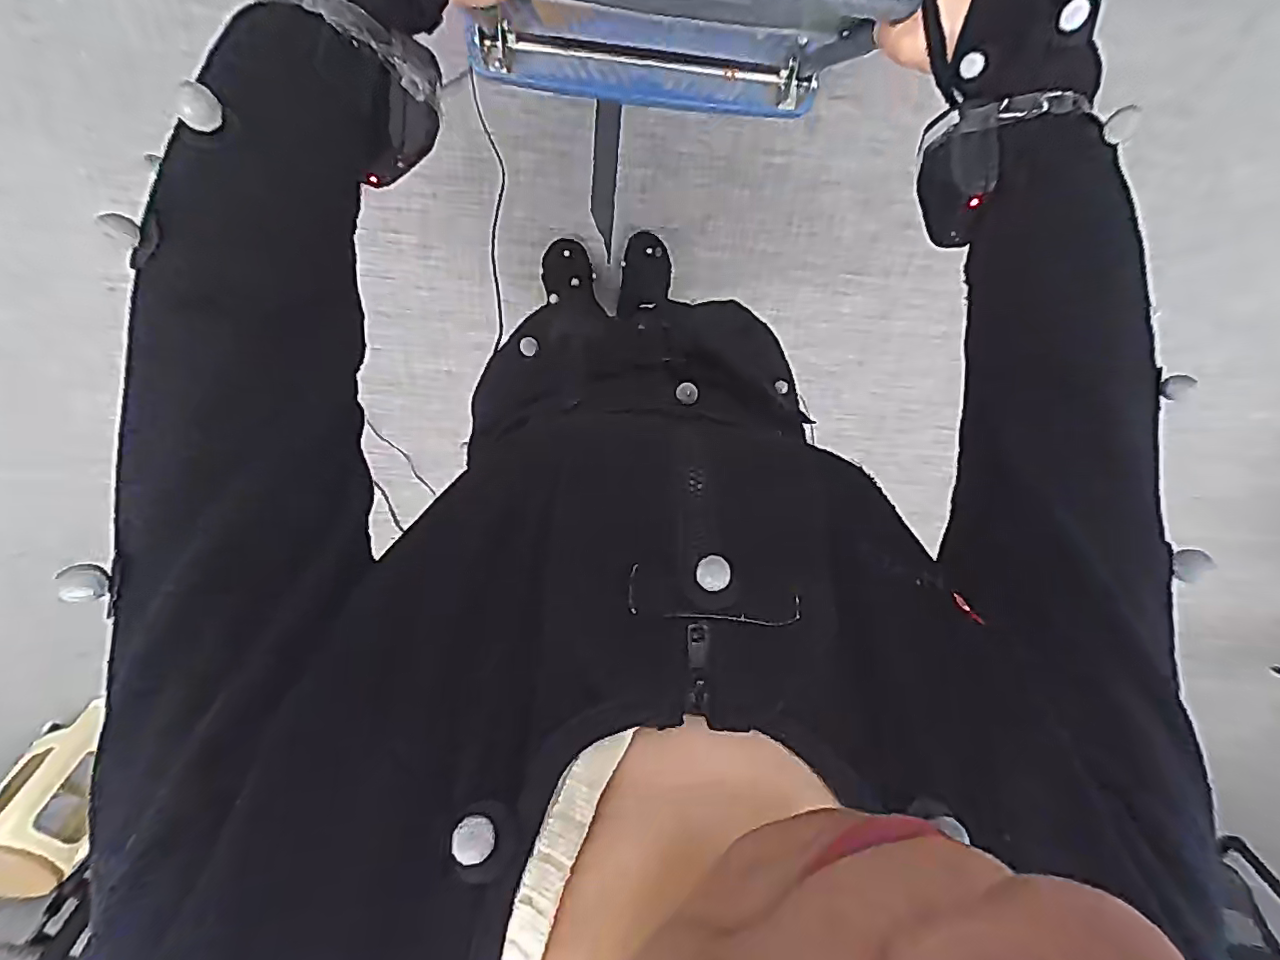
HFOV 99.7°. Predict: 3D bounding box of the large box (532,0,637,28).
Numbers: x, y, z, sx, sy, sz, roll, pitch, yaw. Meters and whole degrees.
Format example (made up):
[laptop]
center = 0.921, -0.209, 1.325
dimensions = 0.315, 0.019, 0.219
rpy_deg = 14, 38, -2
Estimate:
[large box]
center = 0.012, -0.801, 0.629
dimensions = 0.408, 0.320, 0.320
rpy_deg = -14, 122, 3
